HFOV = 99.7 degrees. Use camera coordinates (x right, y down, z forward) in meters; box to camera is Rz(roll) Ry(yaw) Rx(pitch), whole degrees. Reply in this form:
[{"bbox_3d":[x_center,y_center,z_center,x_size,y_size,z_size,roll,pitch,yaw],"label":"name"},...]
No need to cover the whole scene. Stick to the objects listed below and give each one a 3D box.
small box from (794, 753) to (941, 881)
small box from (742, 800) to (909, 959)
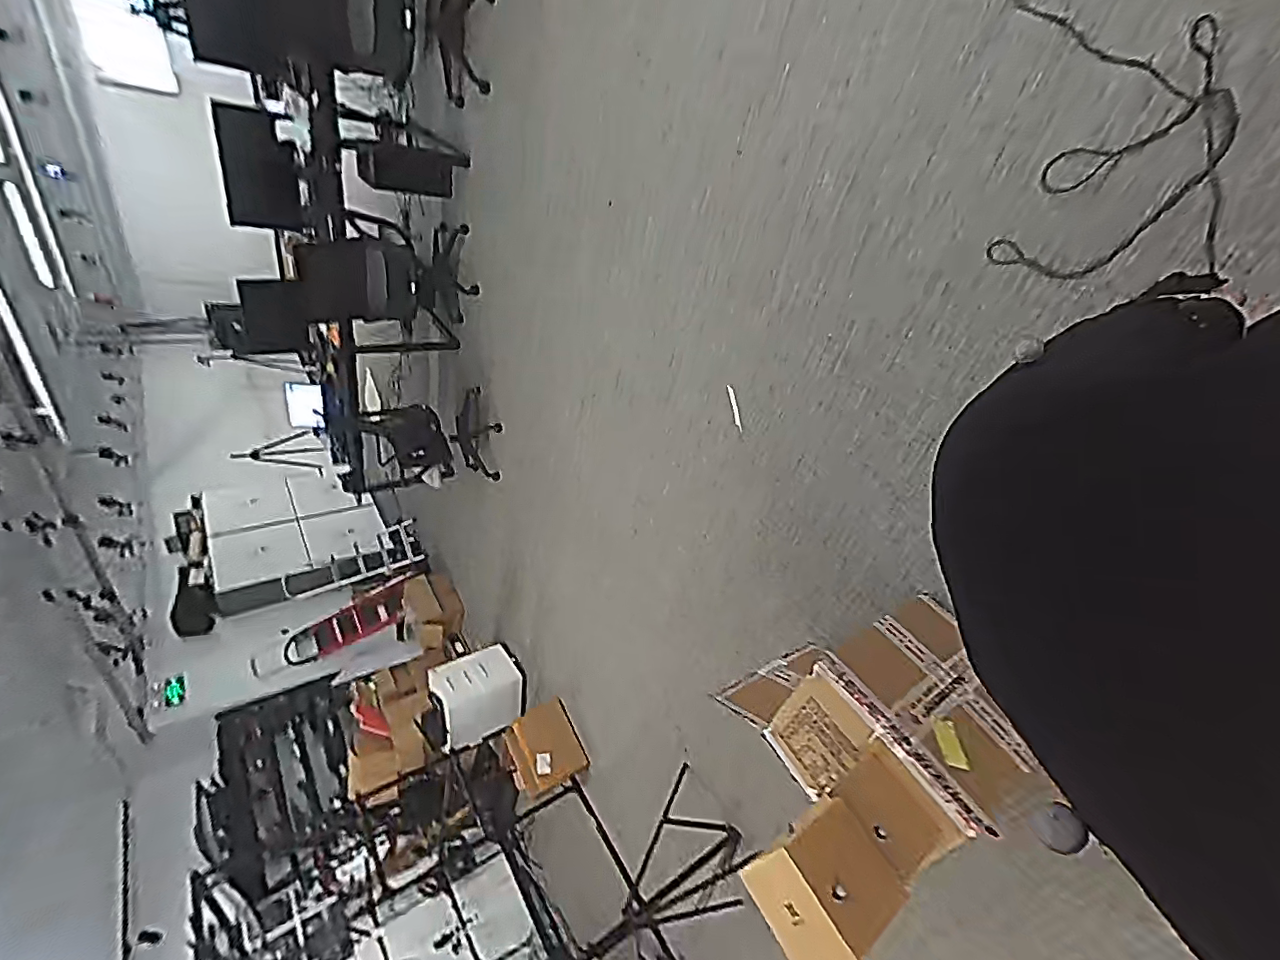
[{"bbox_3d":[0.440,0.677,1.054,0.179,0.176,0.168,49,134,33],"label":"small box"},{"bbox_3d":[0.321,0.694,0.944,0.179,0.176,0.168,52,135,29],"label":"small box"}]
